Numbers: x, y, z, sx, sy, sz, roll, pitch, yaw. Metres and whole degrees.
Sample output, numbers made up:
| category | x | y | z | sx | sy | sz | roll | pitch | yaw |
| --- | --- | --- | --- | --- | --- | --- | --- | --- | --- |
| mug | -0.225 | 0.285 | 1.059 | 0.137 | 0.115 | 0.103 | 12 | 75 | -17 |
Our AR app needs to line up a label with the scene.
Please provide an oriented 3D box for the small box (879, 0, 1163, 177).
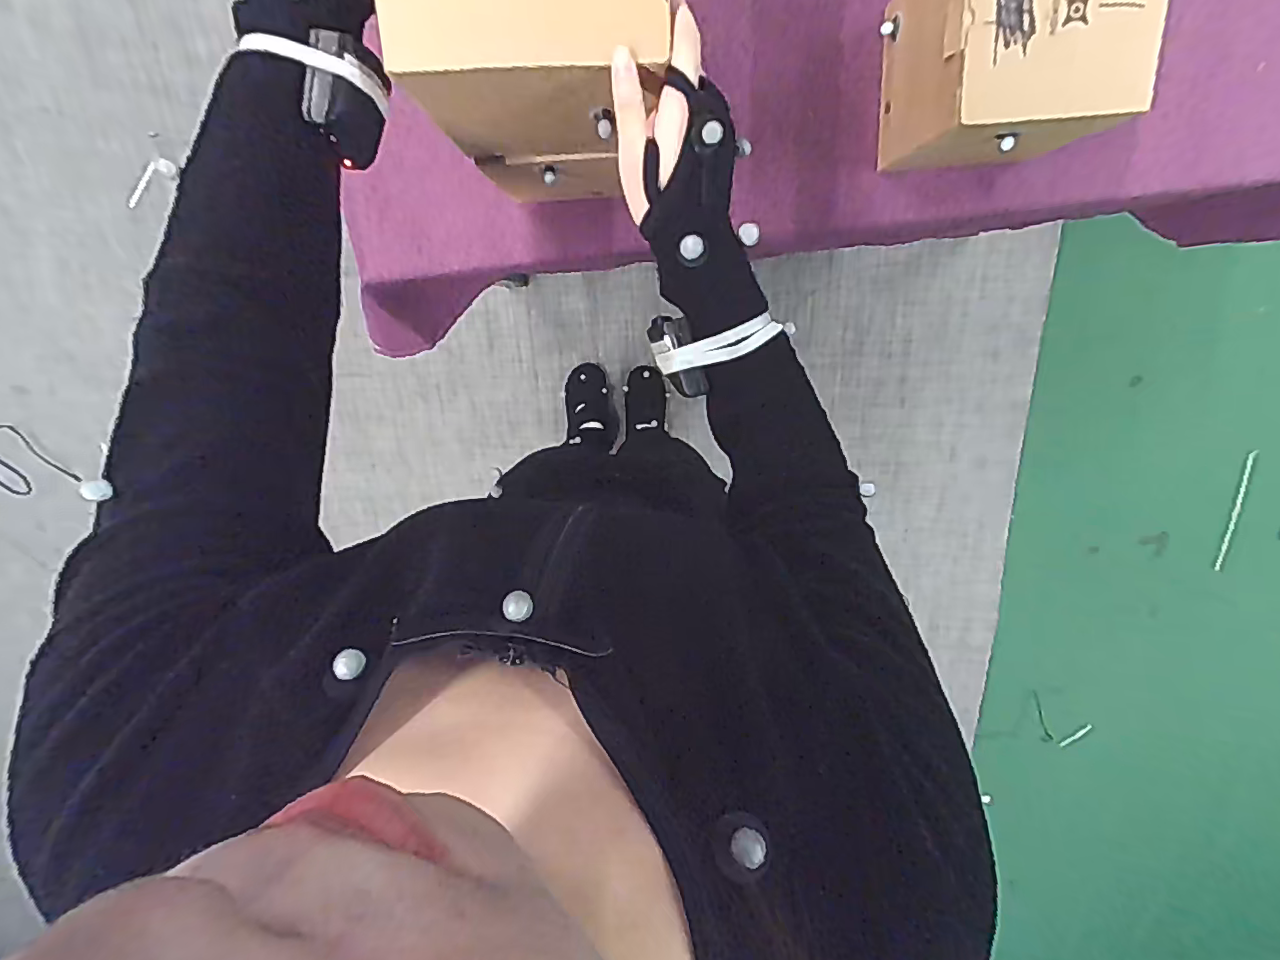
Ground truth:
| category | x | y | z | sx | sy | sz | roll | pitch | yaw |
| --- | --- | --- | --- | --- | --- | --- | --- | --- | --- |
| small box | 0.362 | -0.418 | 0.544 | 0.179 | 0.176 | 0.168 | -4 | 107 | 0 |

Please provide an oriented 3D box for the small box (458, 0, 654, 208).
| category | x | y | z | sx | sy | sz | roll | pitch | yaw |
| --- | --- | --- | --- | --- | --- | --- | --- | --- | --- |
| small box | -0.073 | -0.392 | 0.547 | 0.168 | 0.176 | 0.179 | -3 | 106 | 1 |
